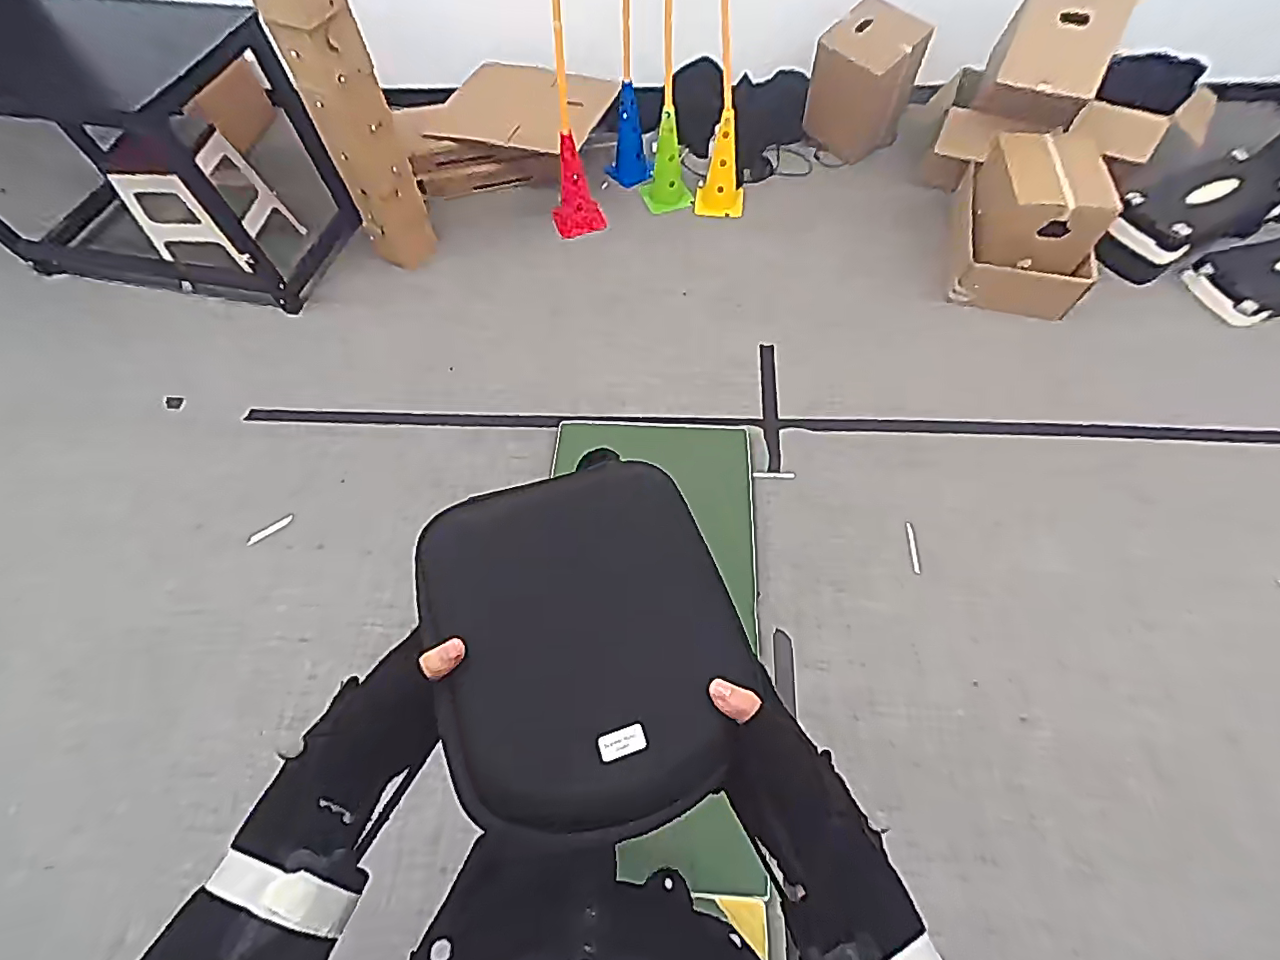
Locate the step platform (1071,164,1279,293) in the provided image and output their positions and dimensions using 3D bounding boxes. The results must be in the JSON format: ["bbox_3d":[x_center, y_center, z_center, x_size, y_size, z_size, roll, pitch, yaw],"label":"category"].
[{"bbox_3d":[2.042,-0.964,2.061,0.684,0.204,0.286,-24,63,-11],"label":"step platform"}]
